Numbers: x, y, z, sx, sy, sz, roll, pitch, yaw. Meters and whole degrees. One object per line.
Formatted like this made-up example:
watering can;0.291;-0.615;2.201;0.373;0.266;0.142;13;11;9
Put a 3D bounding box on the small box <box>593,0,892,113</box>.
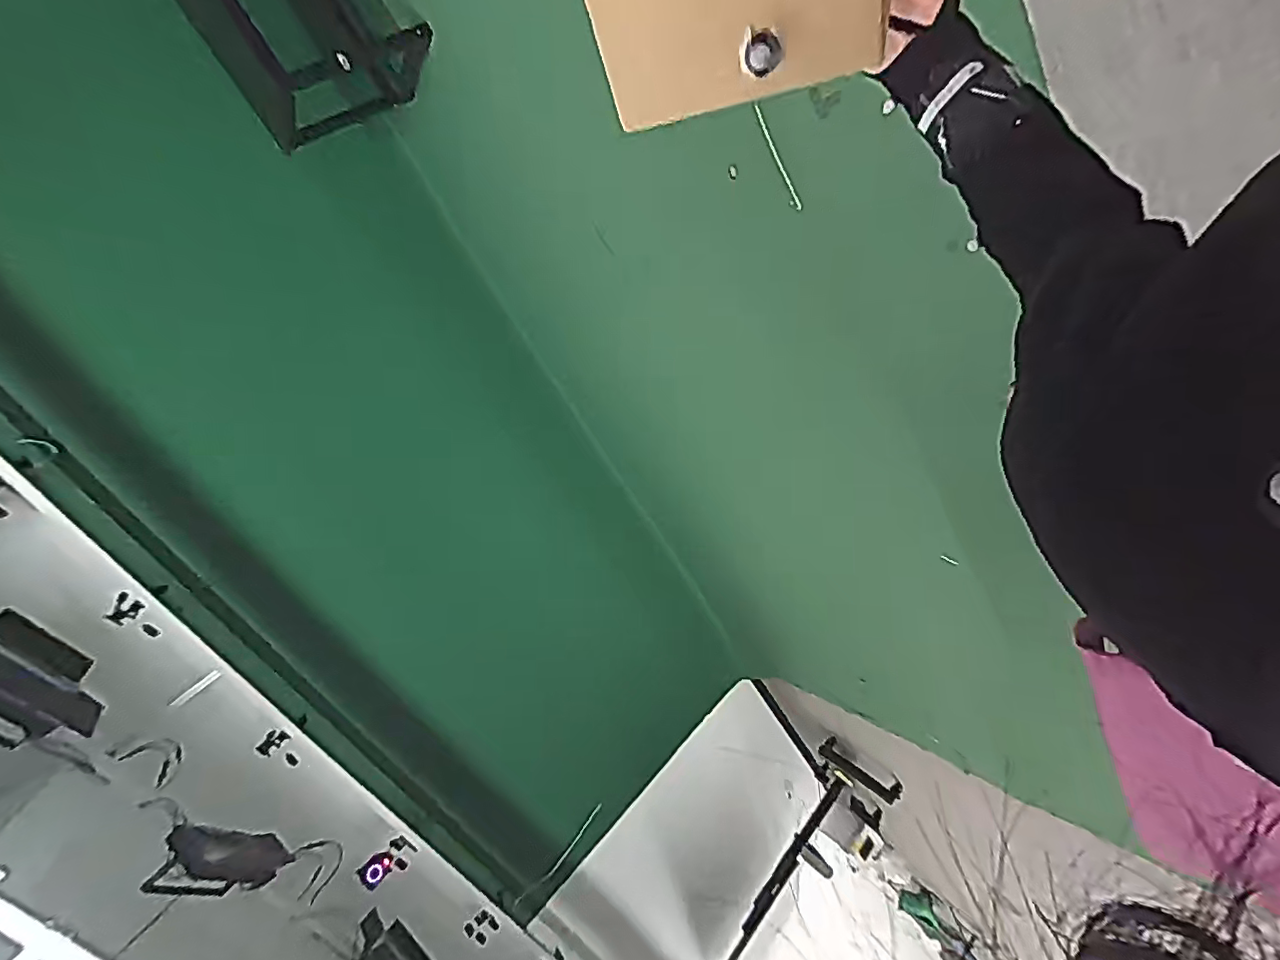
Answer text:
small box;0.063;-0.362;0.322;0.168;0.179;0.176;2;140;25
